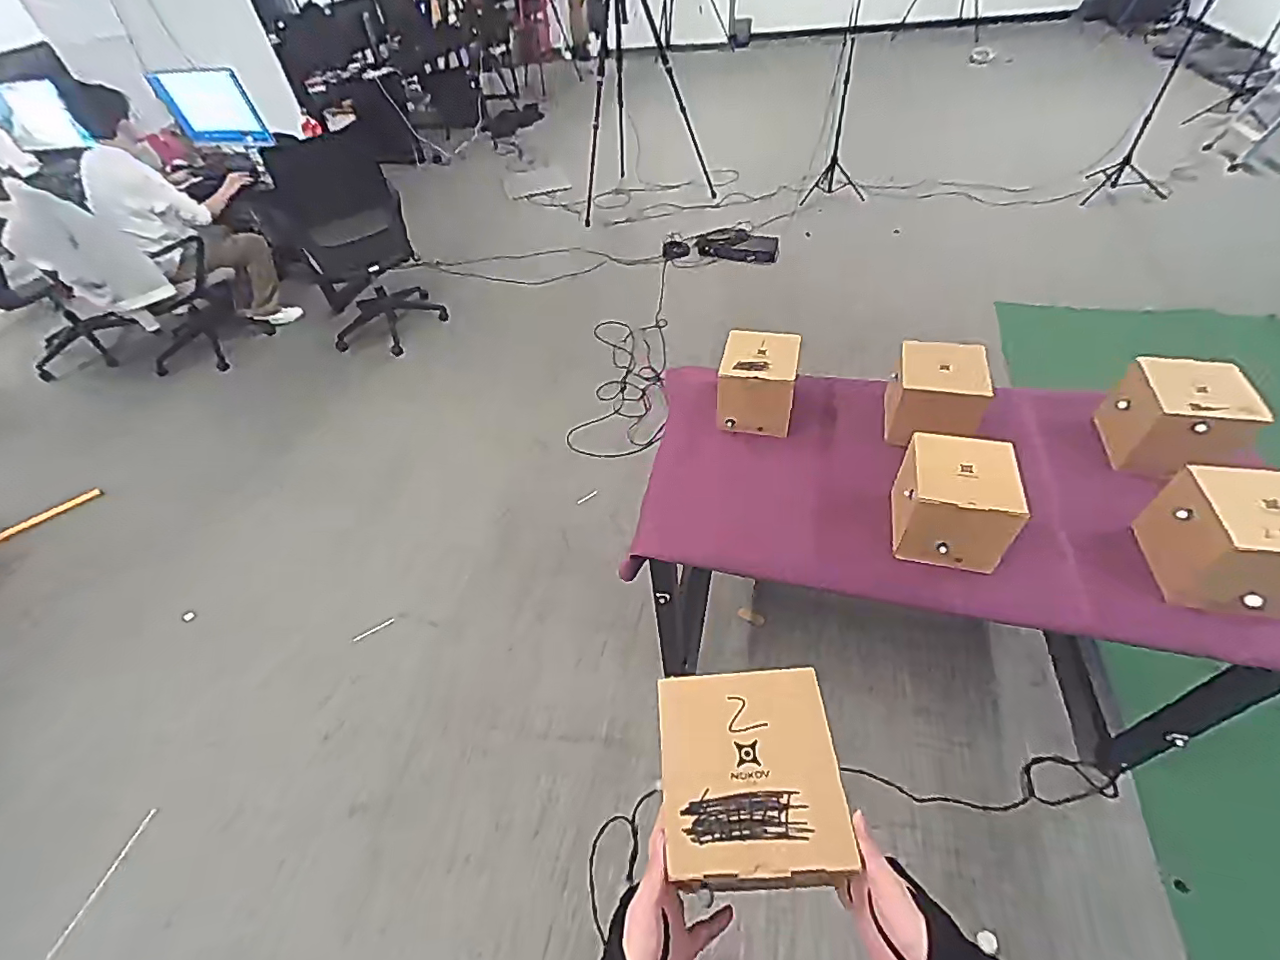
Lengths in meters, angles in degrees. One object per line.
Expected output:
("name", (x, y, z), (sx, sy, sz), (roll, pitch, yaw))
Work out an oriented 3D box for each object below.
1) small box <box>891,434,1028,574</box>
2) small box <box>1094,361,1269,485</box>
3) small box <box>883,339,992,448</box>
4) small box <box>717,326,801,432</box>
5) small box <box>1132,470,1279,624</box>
("small box", (0.570, 0.044, 0.993), (0.168, 0.176, 0.179), (10, 50, 13))
("small box", (1.059, -0.112, 1.083), (0.168, 0.176, 0.179), (8, 50, 14))
("small box", (0.642, -0.183, 1.188), (0.168, 0.176, 0.179), (10, 51, 15))
("small box", (0.275, -0.232, 1.260), (0.168, 0.176, 0.179), (9, 51, 13))
("small box", (0.972, 0.110, 0.891), (0.168, 0.176, 0.179), (7, 50, 13))
